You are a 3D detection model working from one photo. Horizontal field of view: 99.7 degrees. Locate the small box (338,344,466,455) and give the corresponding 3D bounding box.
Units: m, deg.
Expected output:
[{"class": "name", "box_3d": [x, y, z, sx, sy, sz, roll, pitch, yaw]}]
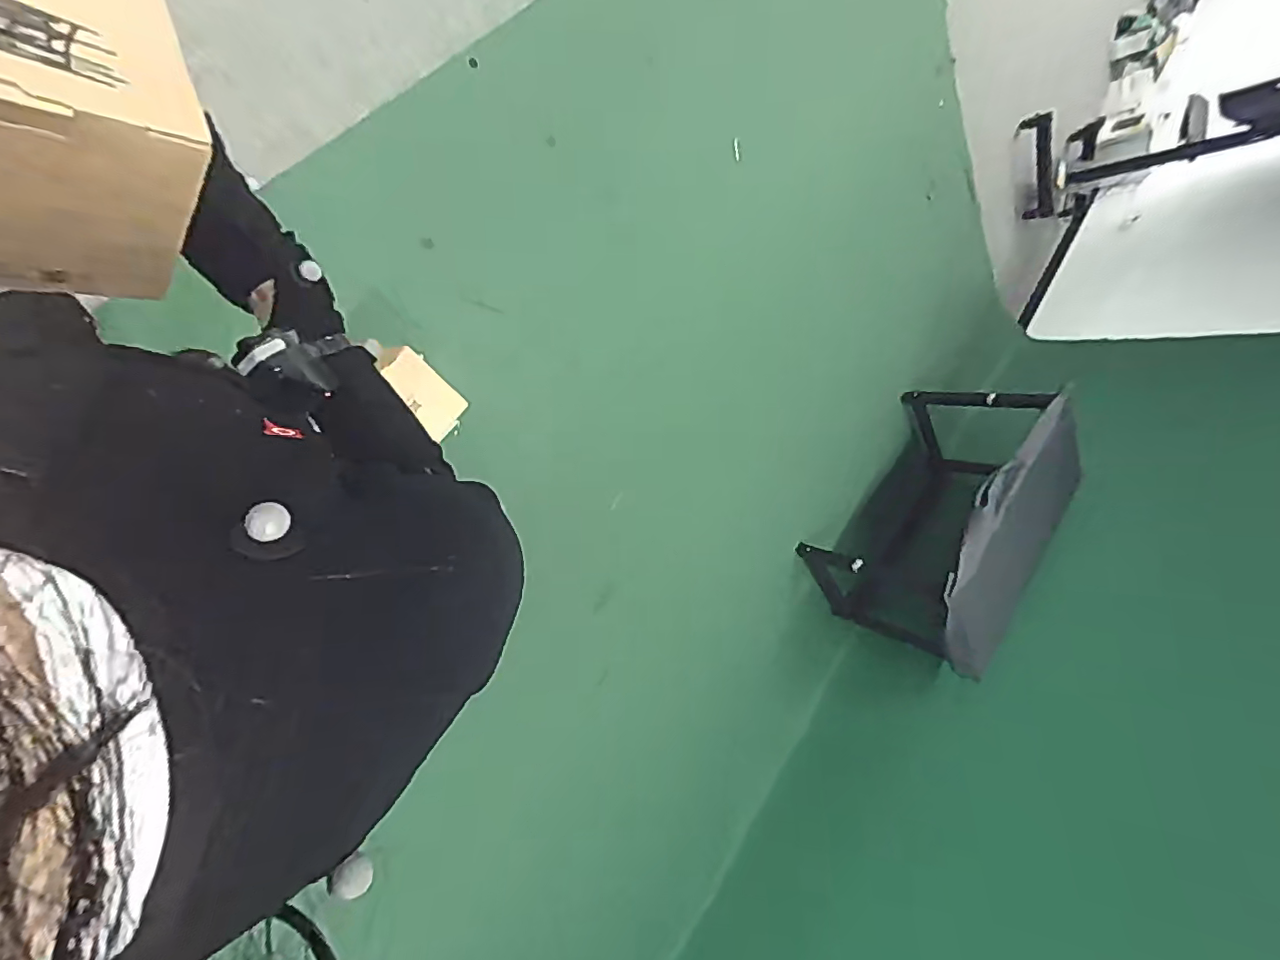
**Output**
[{"class": "small box", "box_3d": [-0.523, -0.180, 1.185, 0.168, 0.176, 0.179, -54, 126, -16]}]
